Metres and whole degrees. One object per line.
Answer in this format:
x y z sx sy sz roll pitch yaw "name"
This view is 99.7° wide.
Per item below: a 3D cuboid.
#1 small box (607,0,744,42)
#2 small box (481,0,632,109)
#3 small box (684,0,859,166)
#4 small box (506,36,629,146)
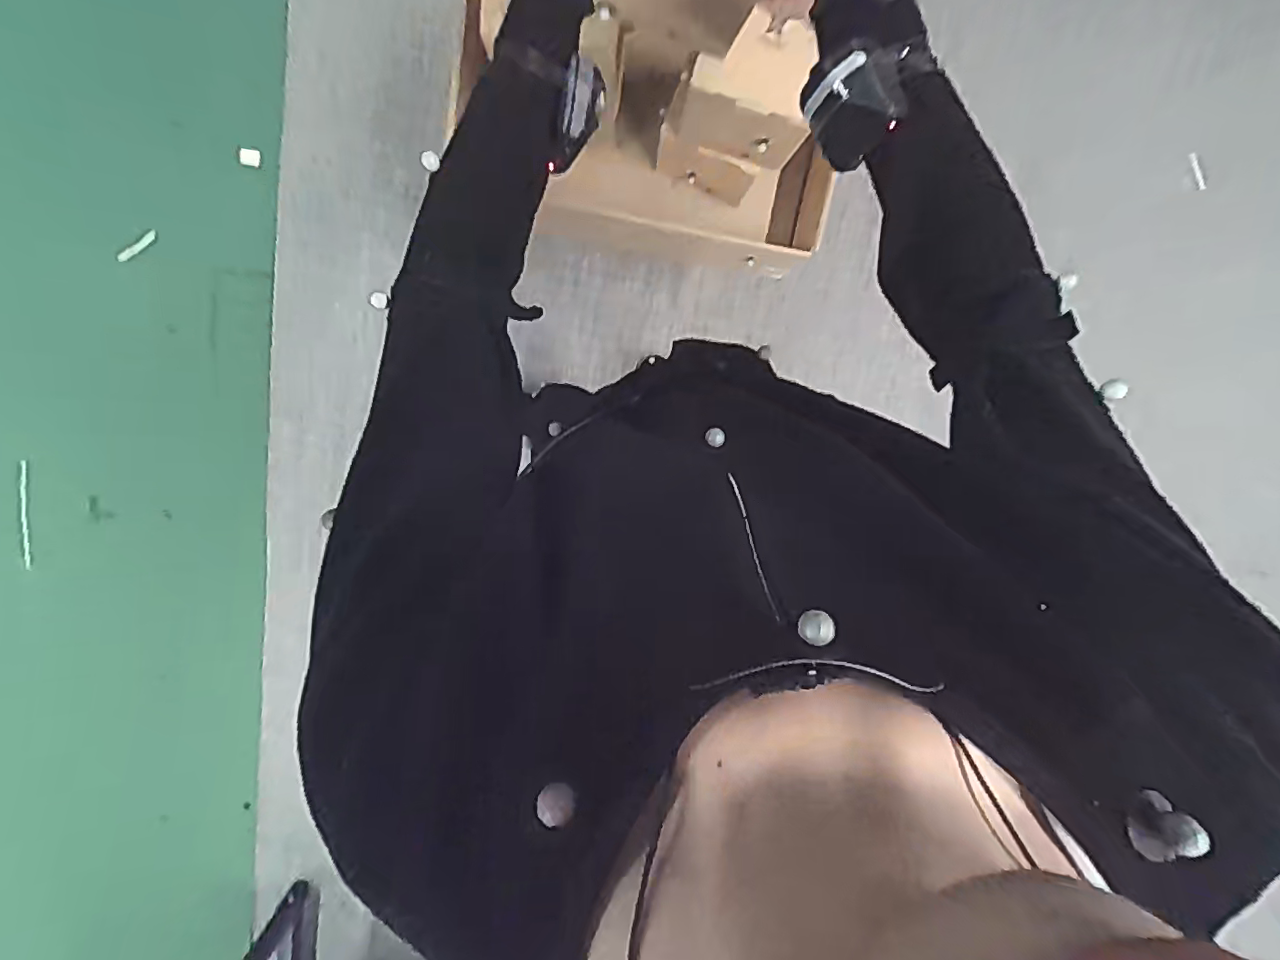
0.037 -0.521 0.458 0.168 0.176 0.179 13 110 -10 "small box"
-0.097 -0.619 0.700 0.168 0.176 0.179 7 102 -3 "small box"
0.163 -0.555 0.722 0.168 0.176 0.179 16 101 -6 "small box"
-0.107 -0.668 0.857 0.168 0.176 0.179 7 101 -2 "small box"
